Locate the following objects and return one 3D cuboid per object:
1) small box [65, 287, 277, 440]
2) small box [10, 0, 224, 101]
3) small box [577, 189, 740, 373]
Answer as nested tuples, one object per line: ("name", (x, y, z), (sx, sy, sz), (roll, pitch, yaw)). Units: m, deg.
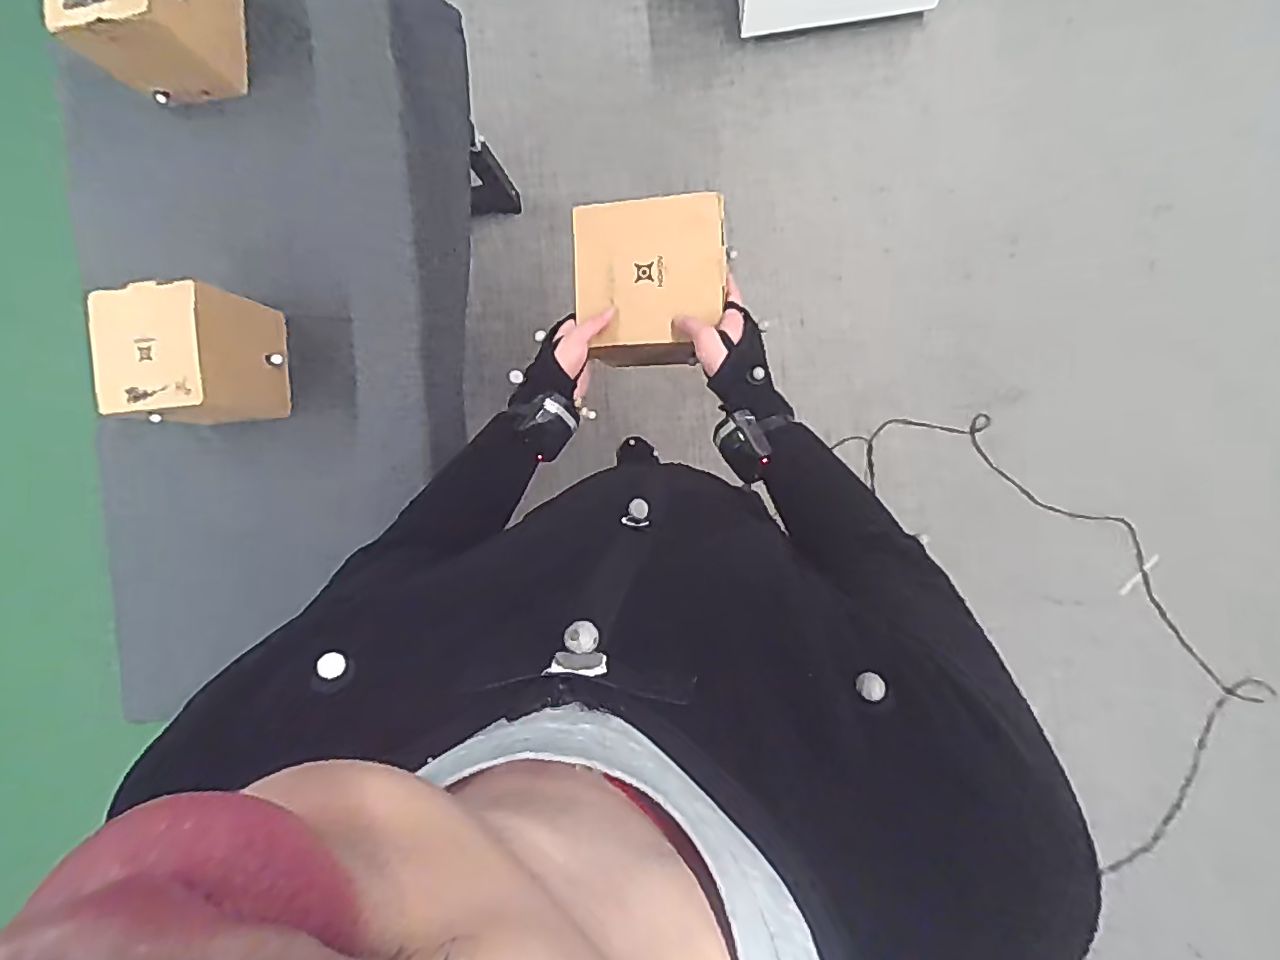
("small box", (-0.668, -0.159, 0.789), (0.168, 0.176, 0.179), (-5, 89, 4))
("small box", (-0.751, -0.692, 0.792), (0.168, 0.176, 0.179), (-4, 89, 4))
("small box", (0.030, -0.233, 0.676), (0.179, 0.176, 0.168), (-3, 91, 10))
